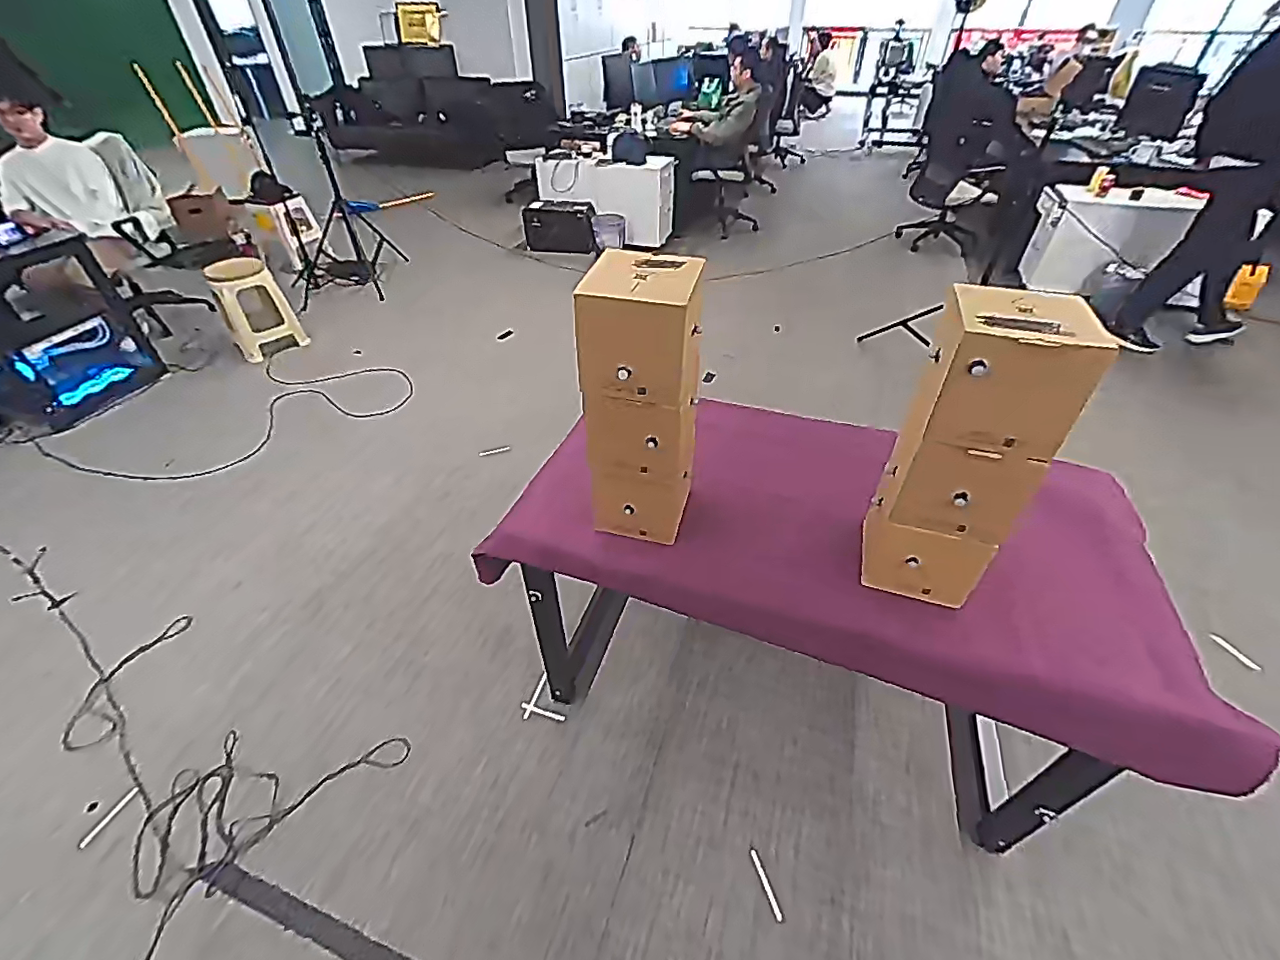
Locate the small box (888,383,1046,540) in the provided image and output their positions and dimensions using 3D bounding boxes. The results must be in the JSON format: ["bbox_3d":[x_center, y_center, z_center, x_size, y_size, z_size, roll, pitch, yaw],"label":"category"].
[{"bbox_3d":[0.509,-0.030,0.868,0.168,0.176,0.179,13,43,15],"label":"small box"}]

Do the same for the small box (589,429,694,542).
[{"bbox_3d":[0.009,0.000,1.080,0.168,0.176,0.179,10,42,11],"label":"small box"}]

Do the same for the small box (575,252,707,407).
[{"bbox_3d":[0.005,-0.240,0.858,0.168,0.176,0.179,10,43,10],"label":"small box"}]

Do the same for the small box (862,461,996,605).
[{"bbox_3d":[0.508,0.096,0.972,0.168,0.176,0.179,12,42,15],"label":"small box"}]

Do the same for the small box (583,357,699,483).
[{"bbox_3d":[0.007,-0.116,0.967,0.168,0.176,0.179,10,41,10],"label":"small box"}]
